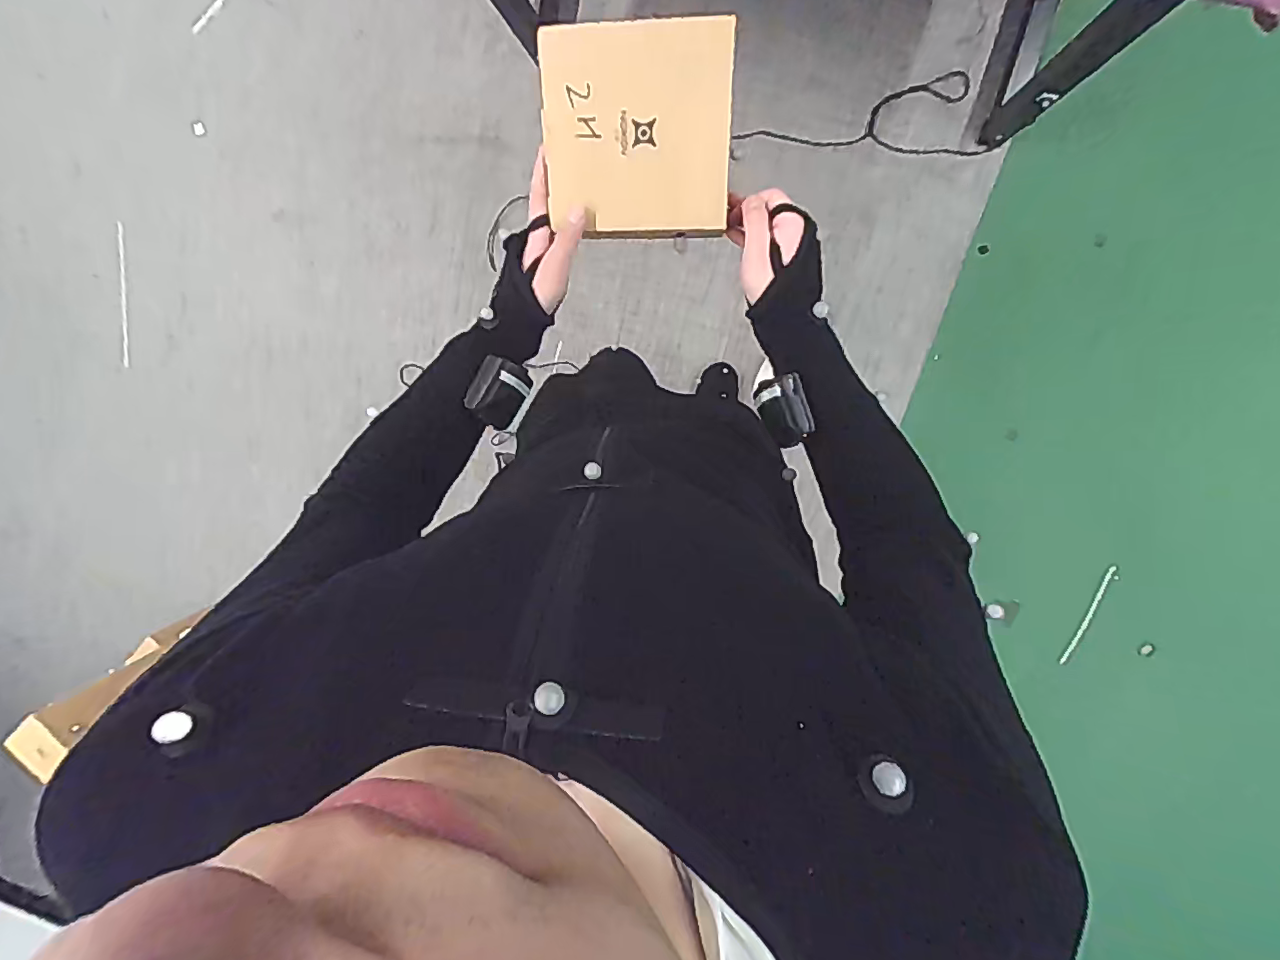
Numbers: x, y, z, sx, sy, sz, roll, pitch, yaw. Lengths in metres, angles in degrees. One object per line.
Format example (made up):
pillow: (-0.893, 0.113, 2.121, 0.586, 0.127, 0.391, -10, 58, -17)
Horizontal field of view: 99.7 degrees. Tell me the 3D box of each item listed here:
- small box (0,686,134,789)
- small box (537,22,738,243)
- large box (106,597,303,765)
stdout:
small box: (-1.608, 0.713, 1.523, 0.168, 0.176, 0.179, -39, 96, 15)
small box: (0.004, -0.342, 0.563, 0.179, 0.176, 0.168, 2, 112, 7)
large box: (-1.536, 0.704, 1.935, 0.320, 0.320, 0.408, -43, 94, 18)
